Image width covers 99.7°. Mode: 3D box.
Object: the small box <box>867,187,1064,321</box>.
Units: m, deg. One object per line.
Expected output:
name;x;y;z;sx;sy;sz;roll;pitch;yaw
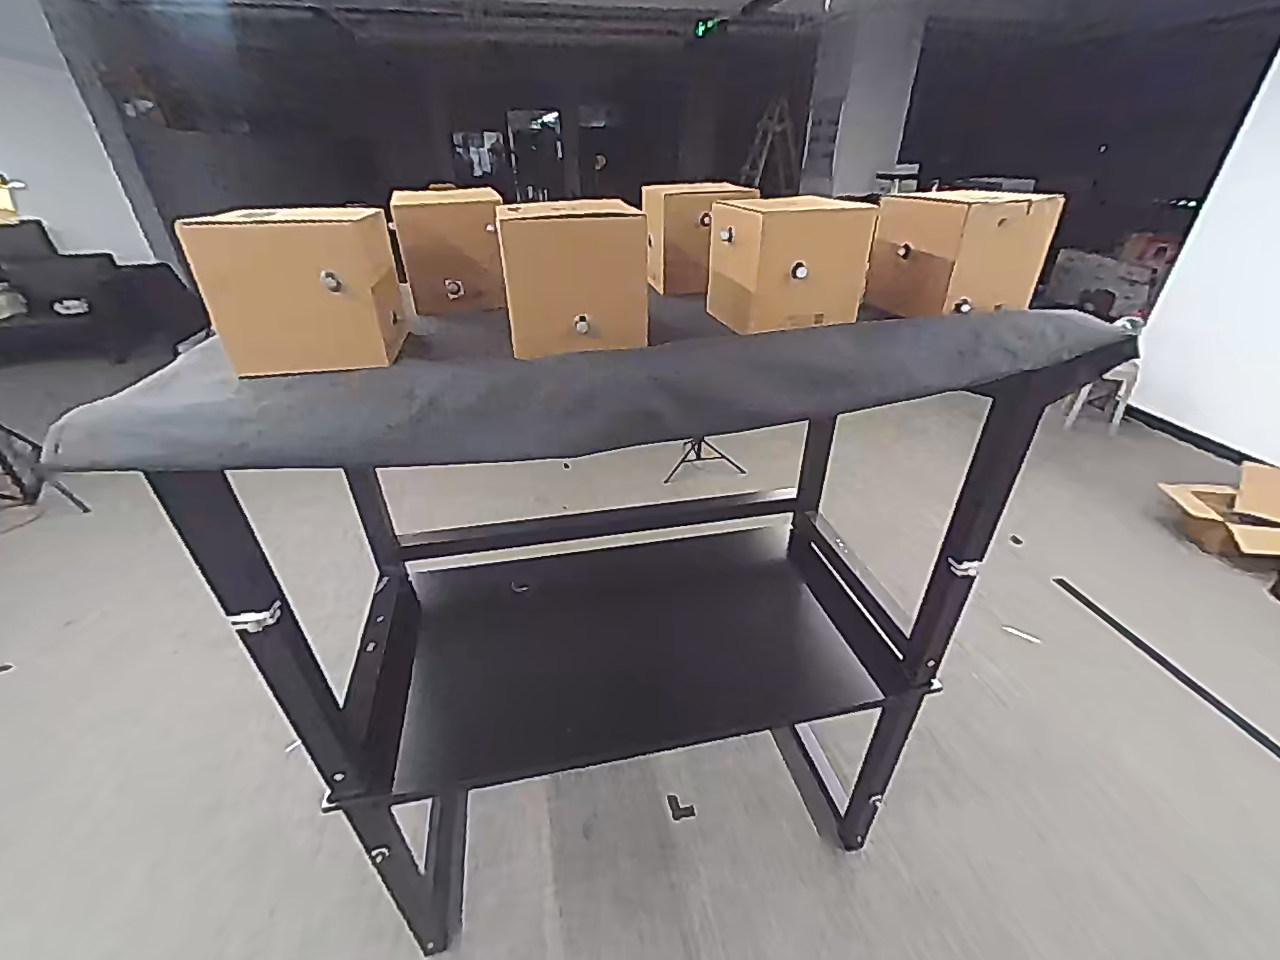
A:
small box;0.481;-0.346;0.828;0.168;0.176;0.179;-10;32;-14

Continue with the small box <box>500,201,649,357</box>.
small box;-0.092;-0.274;0.731;0.179;0.176;0.168;-7;32;-11

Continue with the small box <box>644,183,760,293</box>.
small box;0.109;-0.457;1.019;0.179;0.176;0.168;-7;33;-10

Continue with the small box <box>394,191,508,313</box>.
small box;-0.310;-0.393;0.927;0.168;0.176;0.179;-11;34;-15

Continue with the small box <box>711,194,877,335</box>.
small box;0.210;-0.314;0.789;0.168;0.176;0.179;-8;32;-11
